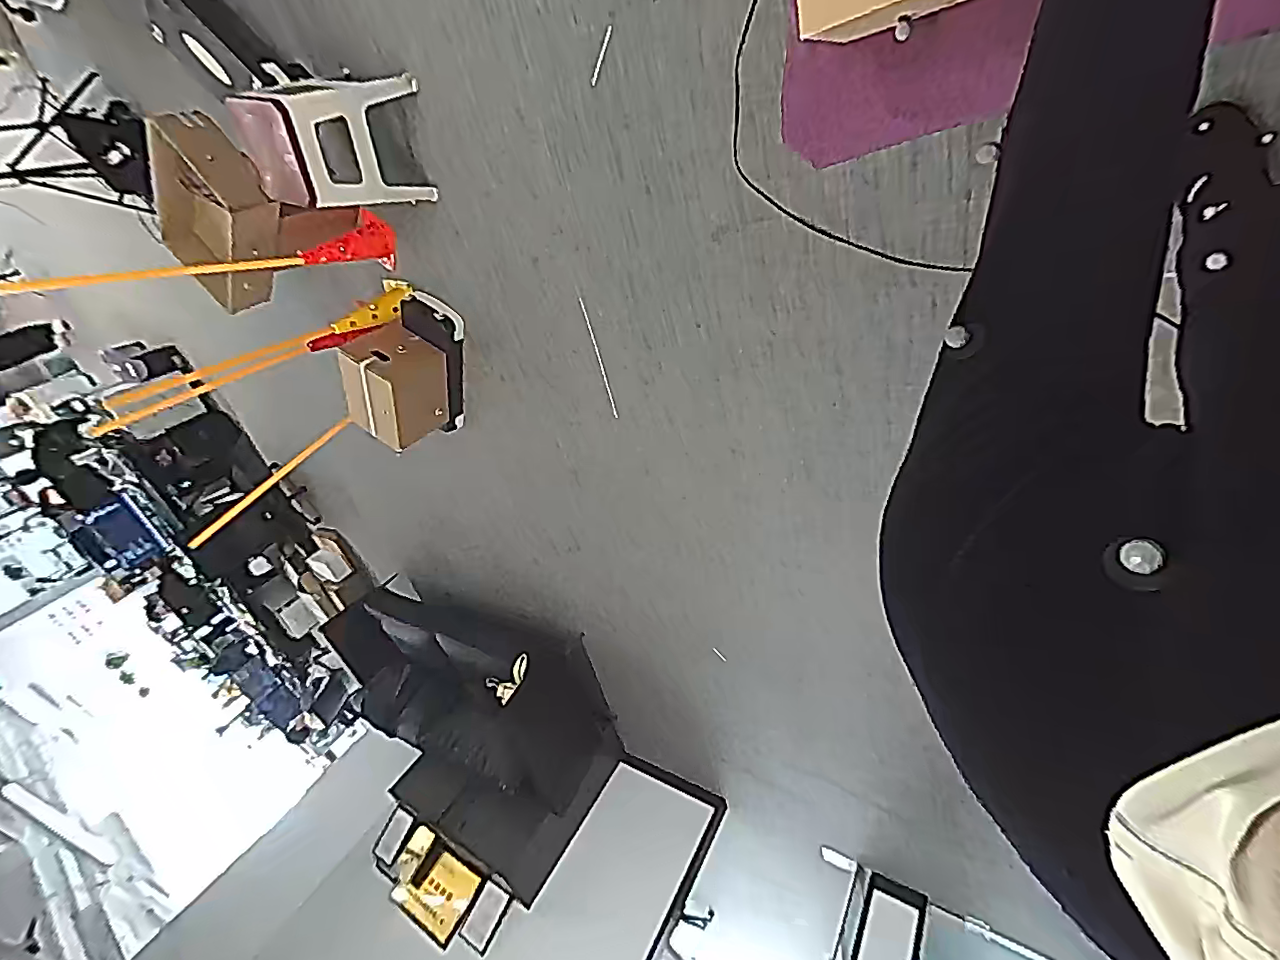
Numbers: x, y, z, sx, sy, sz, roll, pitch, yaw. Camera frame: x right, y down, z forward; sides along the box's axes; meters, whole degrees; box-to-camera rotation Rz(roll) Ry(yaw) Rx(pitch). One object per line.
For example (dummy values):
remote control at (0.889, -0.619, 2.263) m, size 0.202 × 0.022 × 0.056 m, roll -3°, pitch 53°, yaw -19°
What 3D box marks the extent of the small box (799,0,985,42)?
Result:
small box at (0.241, -0.517, 0.471) m, size 0.168 × 0.176 × 0.179 m, roll 7°, pitch 125°, yaw 36°
